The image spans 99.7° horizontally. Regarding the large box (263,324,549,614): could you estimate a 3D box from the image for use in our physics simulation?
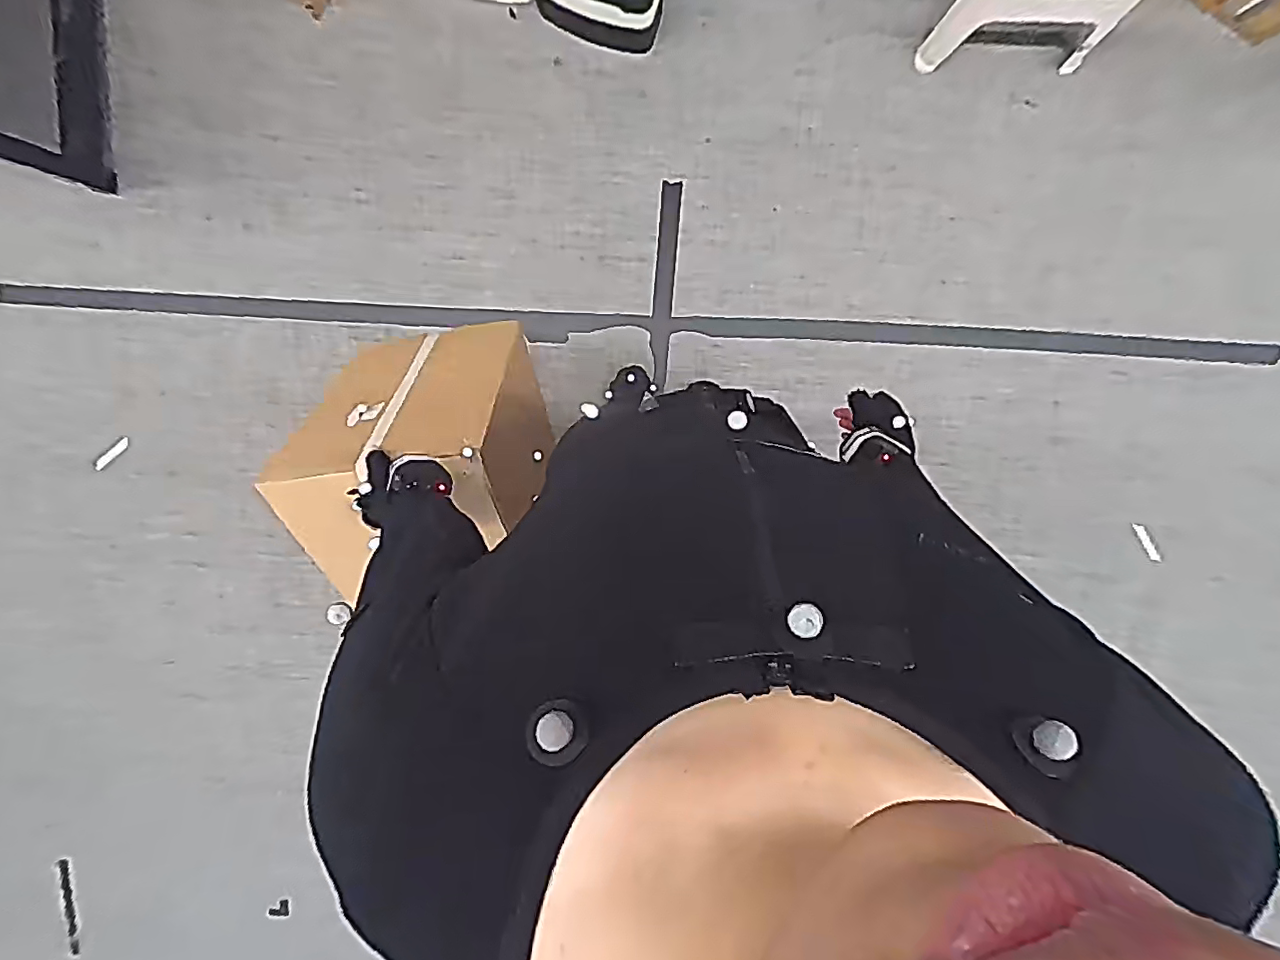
[{"bbox_3d":[-0.355,-0.029,0.968,0.320,0.408,0.320,-10,132,4],"label":"large box"}]
